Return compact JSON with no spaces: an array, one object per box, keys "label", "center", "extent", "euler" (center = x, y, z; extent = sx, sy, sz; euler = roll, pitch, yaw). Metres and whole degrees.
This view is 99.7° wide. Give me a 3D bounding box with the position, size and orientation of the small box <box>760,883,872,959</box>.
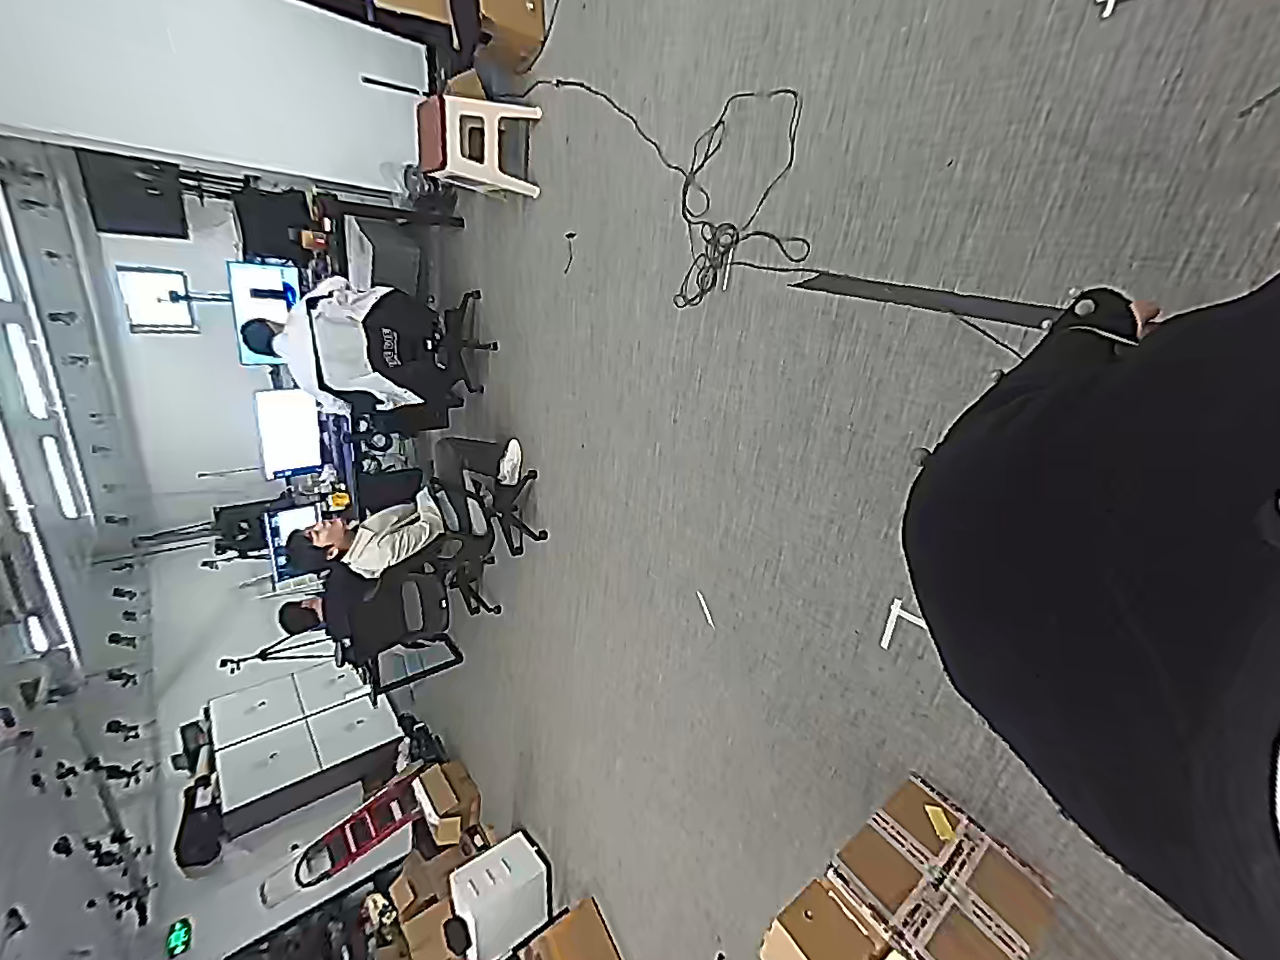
[{"label":"small box","center":[0.435,1.154,1.344],"extent":[0.179,0.176,0.168],"euler":[34,124,42]}]
